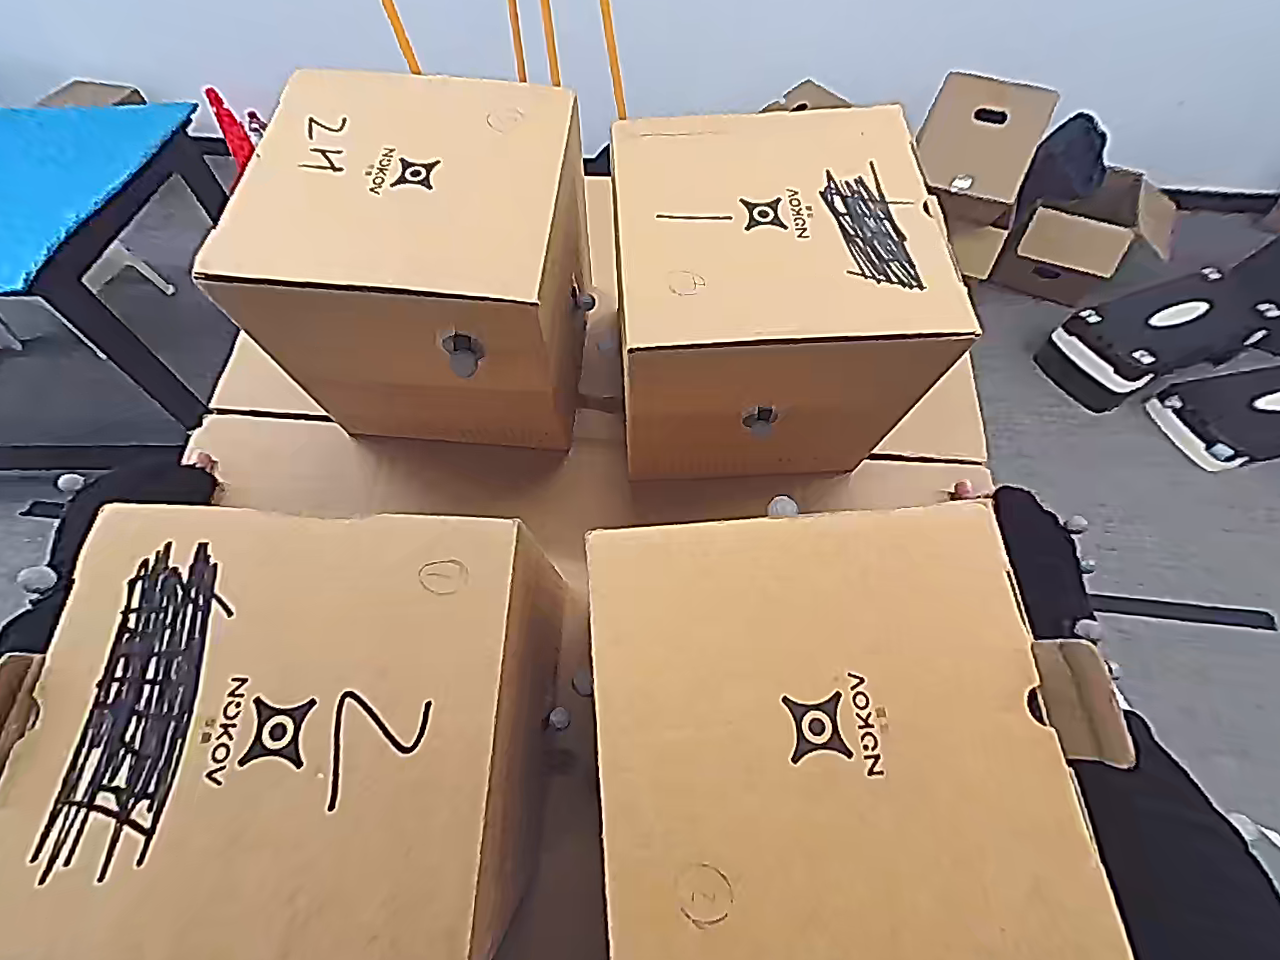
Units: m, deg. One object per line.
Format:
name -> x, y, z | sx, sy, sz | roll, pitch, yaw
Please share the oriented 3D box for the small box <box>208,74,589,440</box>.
small box -> -0.133, -0.140, 0.383 | 0.179, 0.176, 0.168 | 5, 67, 1
